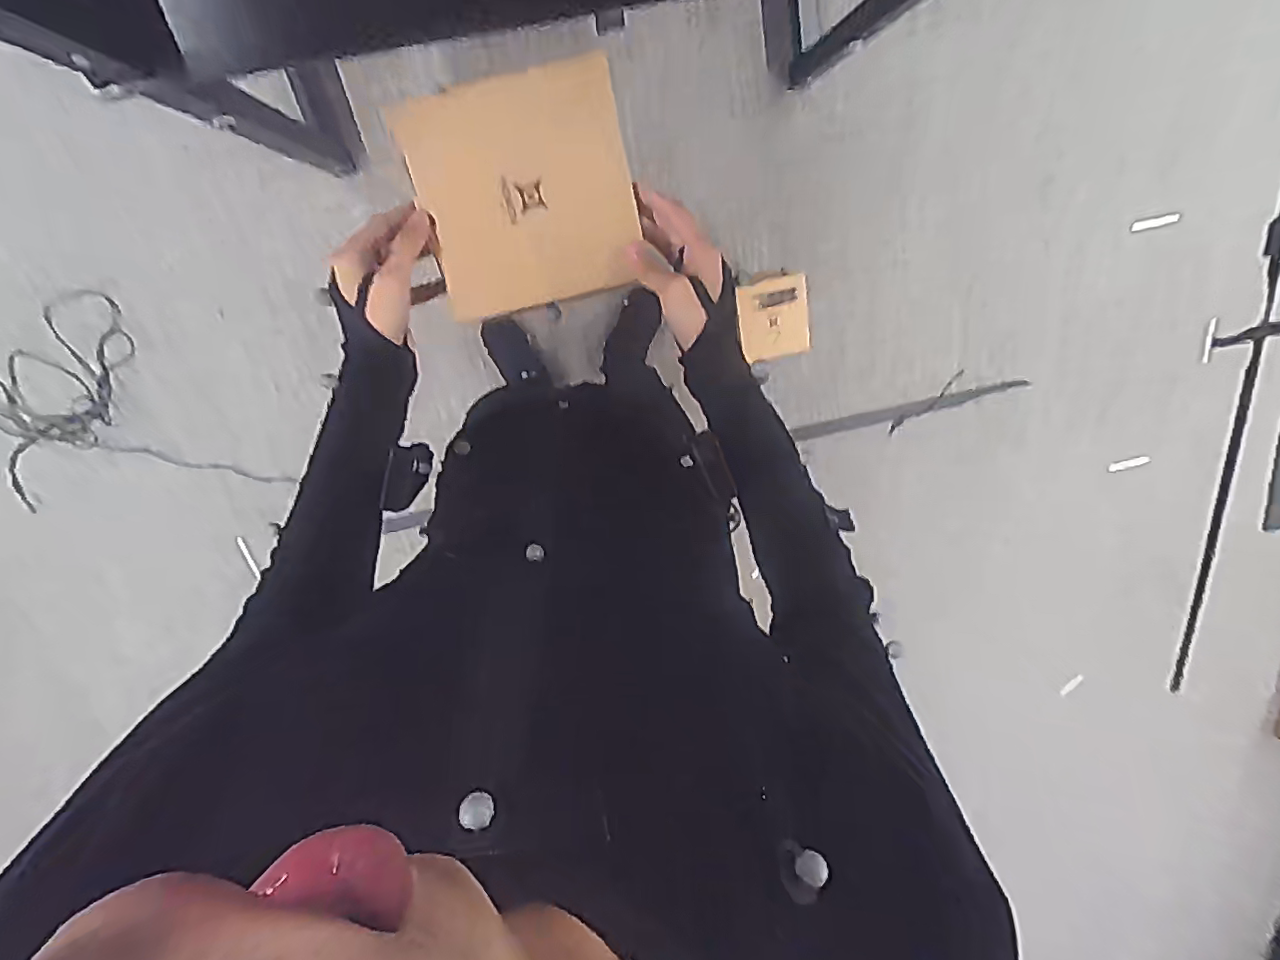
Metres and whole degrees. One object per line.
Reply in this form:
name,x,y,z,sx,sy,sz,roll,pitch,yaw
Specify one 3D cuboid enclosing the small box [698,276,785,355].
small box,0.271,-0.448,1.456,0.179,0.176,0.168,-15,112,-2
